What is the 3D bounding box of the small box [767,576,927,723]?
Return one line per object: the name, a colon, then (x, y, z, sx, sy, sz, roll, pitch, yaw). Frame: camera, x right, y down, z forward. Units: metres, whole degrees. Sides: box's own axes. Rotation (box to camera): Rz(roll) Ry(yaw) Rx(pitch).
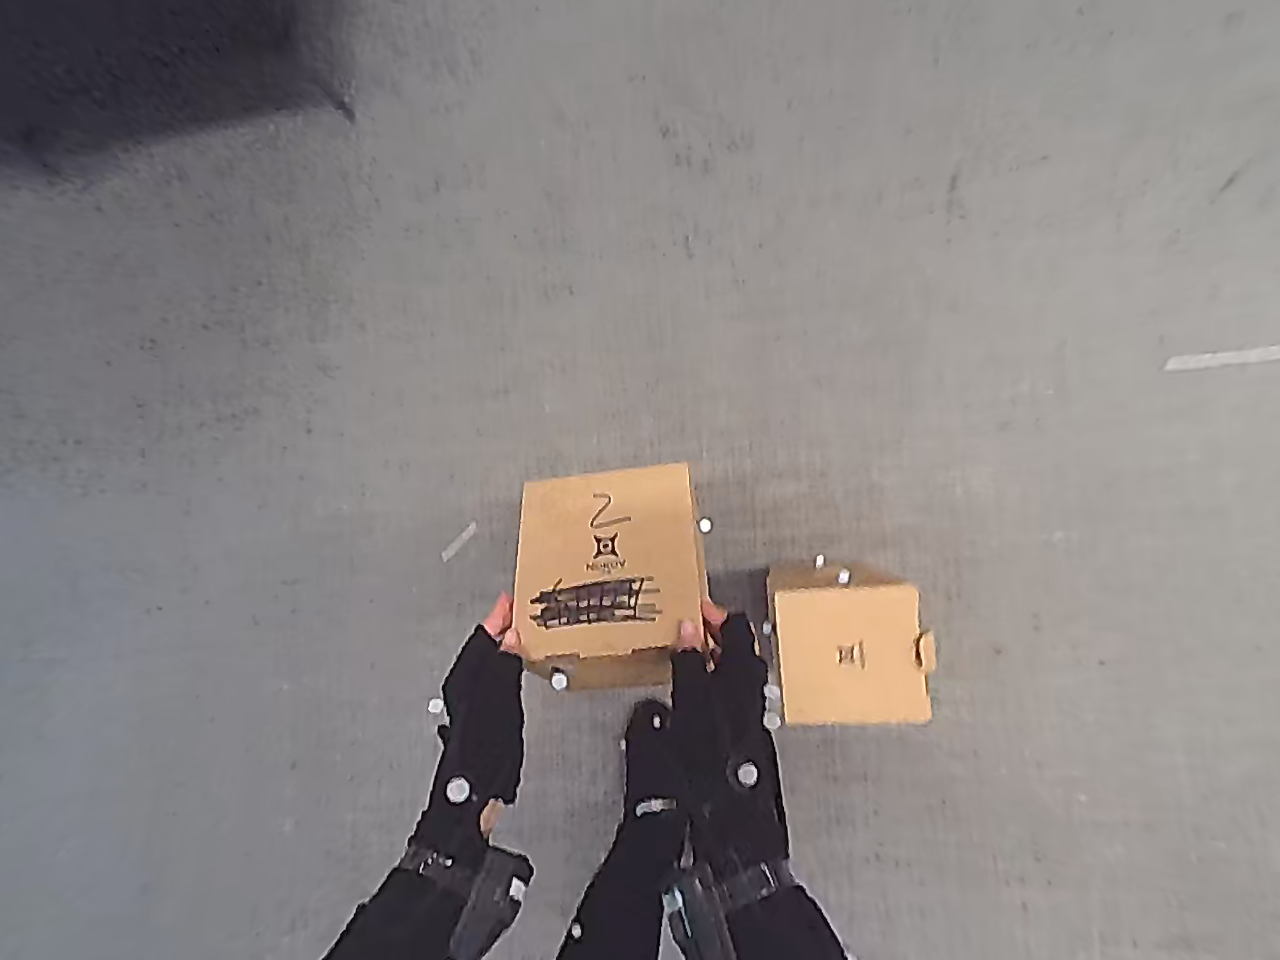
small box: (0.275, 0.229, 0.760, 0.179, 0.176, 0.168, -5, 85, 9)
